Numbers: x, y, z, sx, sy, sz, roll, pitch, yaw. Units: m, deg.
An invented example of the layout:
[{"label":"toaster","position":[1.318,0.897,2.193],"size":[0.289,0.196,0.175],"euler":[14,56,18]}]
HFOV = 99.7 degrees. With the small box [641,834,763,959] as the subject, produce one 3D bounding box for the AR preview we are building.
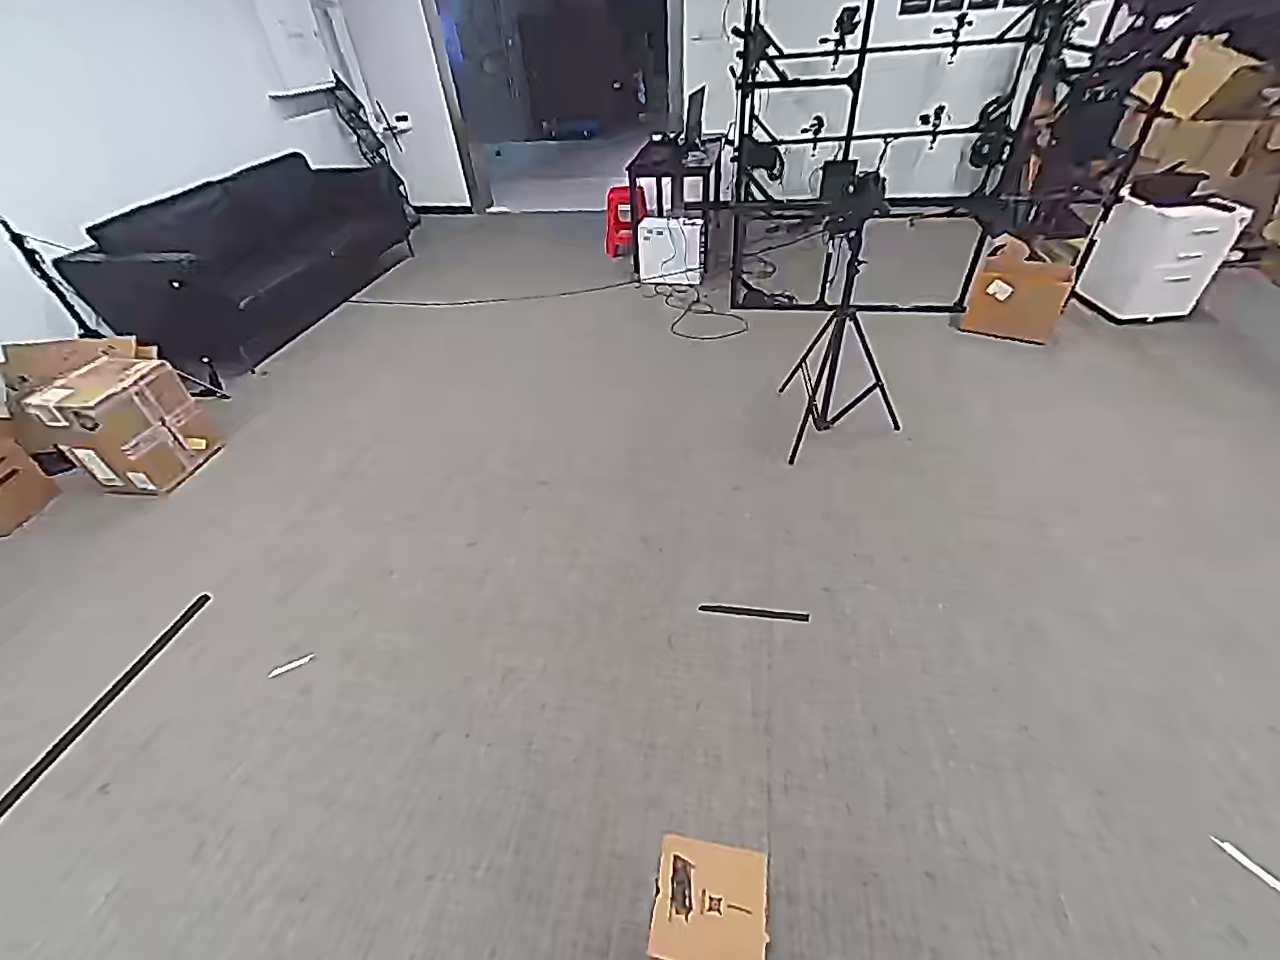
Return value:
[{"label":"small box","position":[0.106,0.724,0.896],"size":[0.179,0.176,0.168],"euler":[6,41,10]}]
